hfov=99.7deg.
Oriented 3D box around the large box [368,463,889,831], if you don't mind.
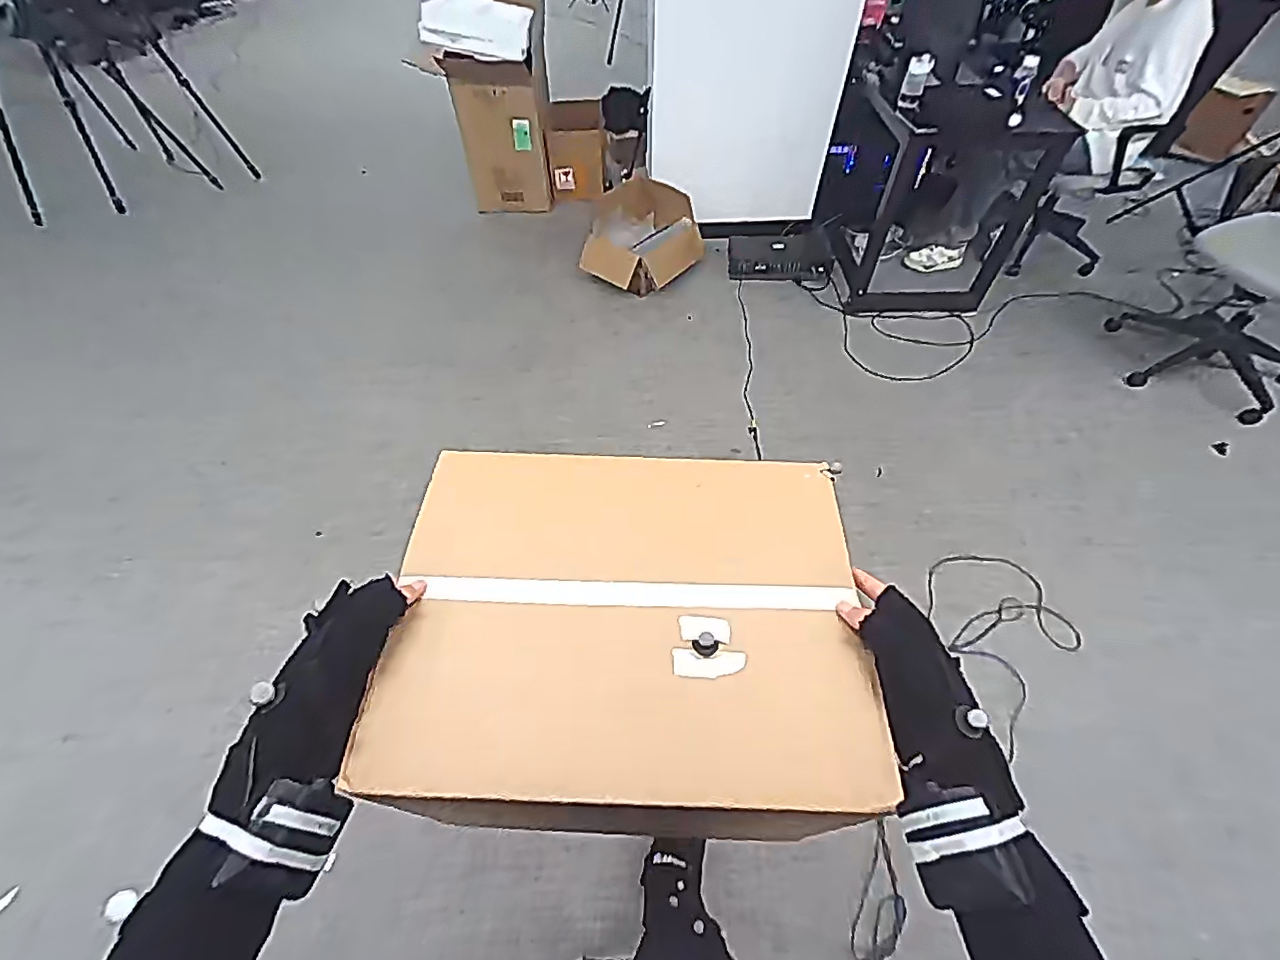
[{"bbox_3d":[-0.009,0.198,0.612,0.408,0.320,0.320,2,53,0],"label":"large box"}]
